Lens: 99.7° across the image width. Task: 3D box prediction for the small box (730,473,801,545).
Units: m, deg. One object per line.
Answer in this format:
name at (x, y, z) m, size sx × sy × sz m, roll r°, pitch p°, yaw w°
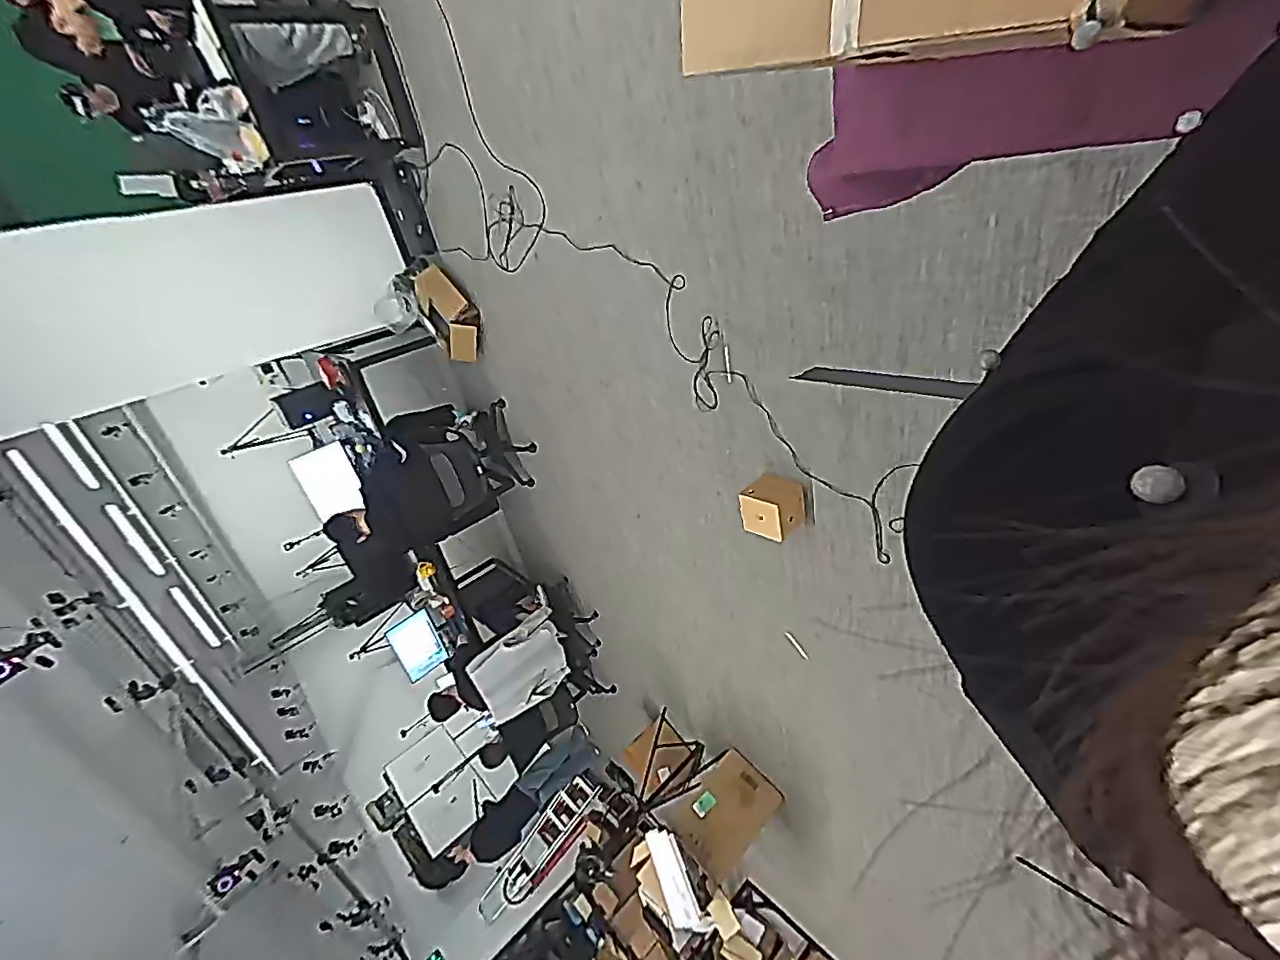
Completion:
small box at (0.463, 0.111, 2.019) m, size 0.179 × 0.176 × 0.168 m, roll 55°, pitch 173°, yaw -31°
